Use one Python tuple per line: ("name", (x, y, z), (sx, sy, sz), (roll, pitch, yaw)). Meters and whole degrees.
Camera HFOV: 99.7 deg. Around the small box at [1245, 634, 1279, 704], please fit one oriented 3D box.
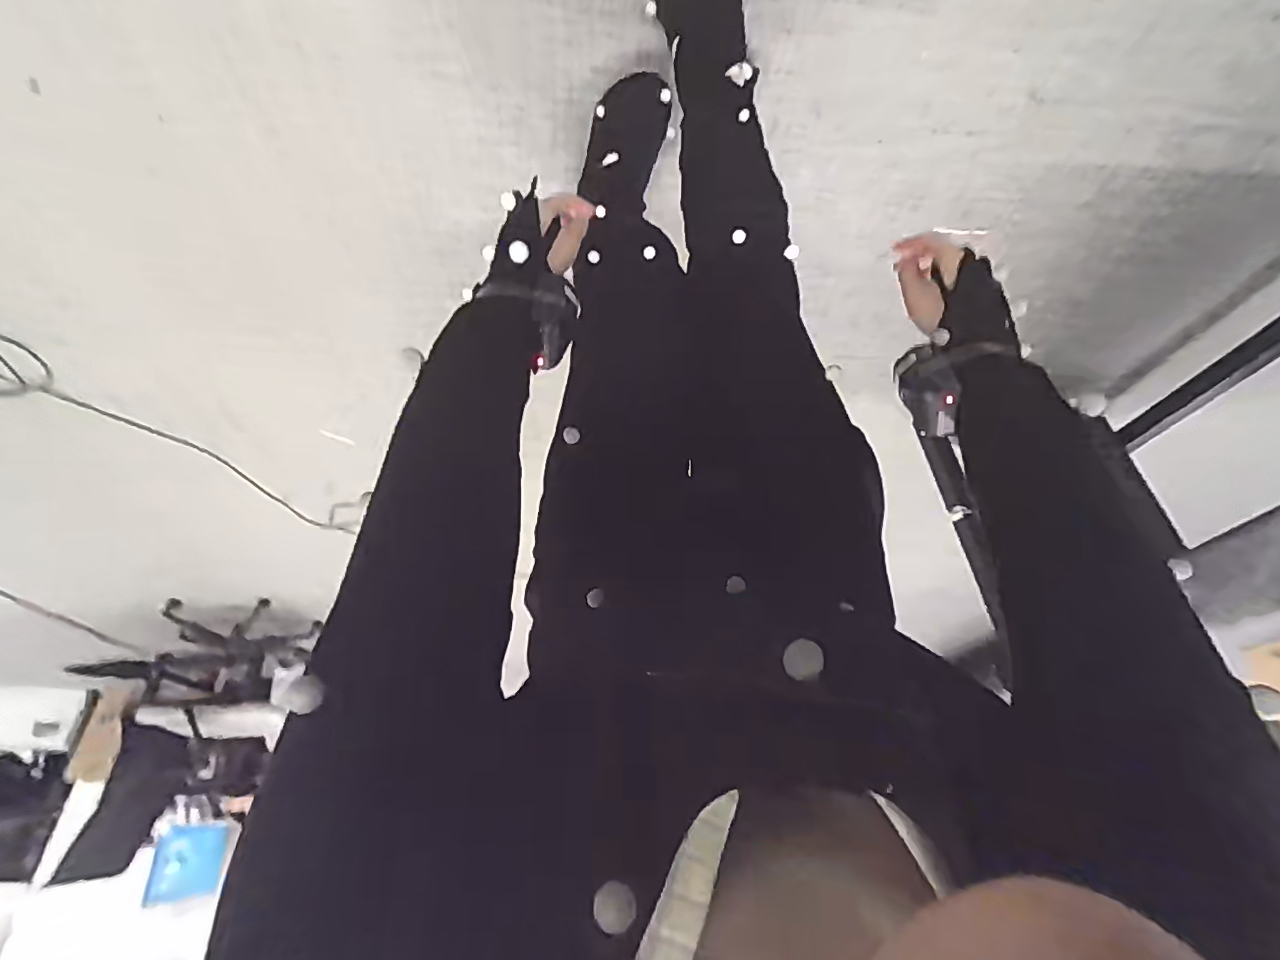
("small box", (1.113, 0.308, 0.819), (0.179, 0.176, 0.168), (-4, 148, 1))
